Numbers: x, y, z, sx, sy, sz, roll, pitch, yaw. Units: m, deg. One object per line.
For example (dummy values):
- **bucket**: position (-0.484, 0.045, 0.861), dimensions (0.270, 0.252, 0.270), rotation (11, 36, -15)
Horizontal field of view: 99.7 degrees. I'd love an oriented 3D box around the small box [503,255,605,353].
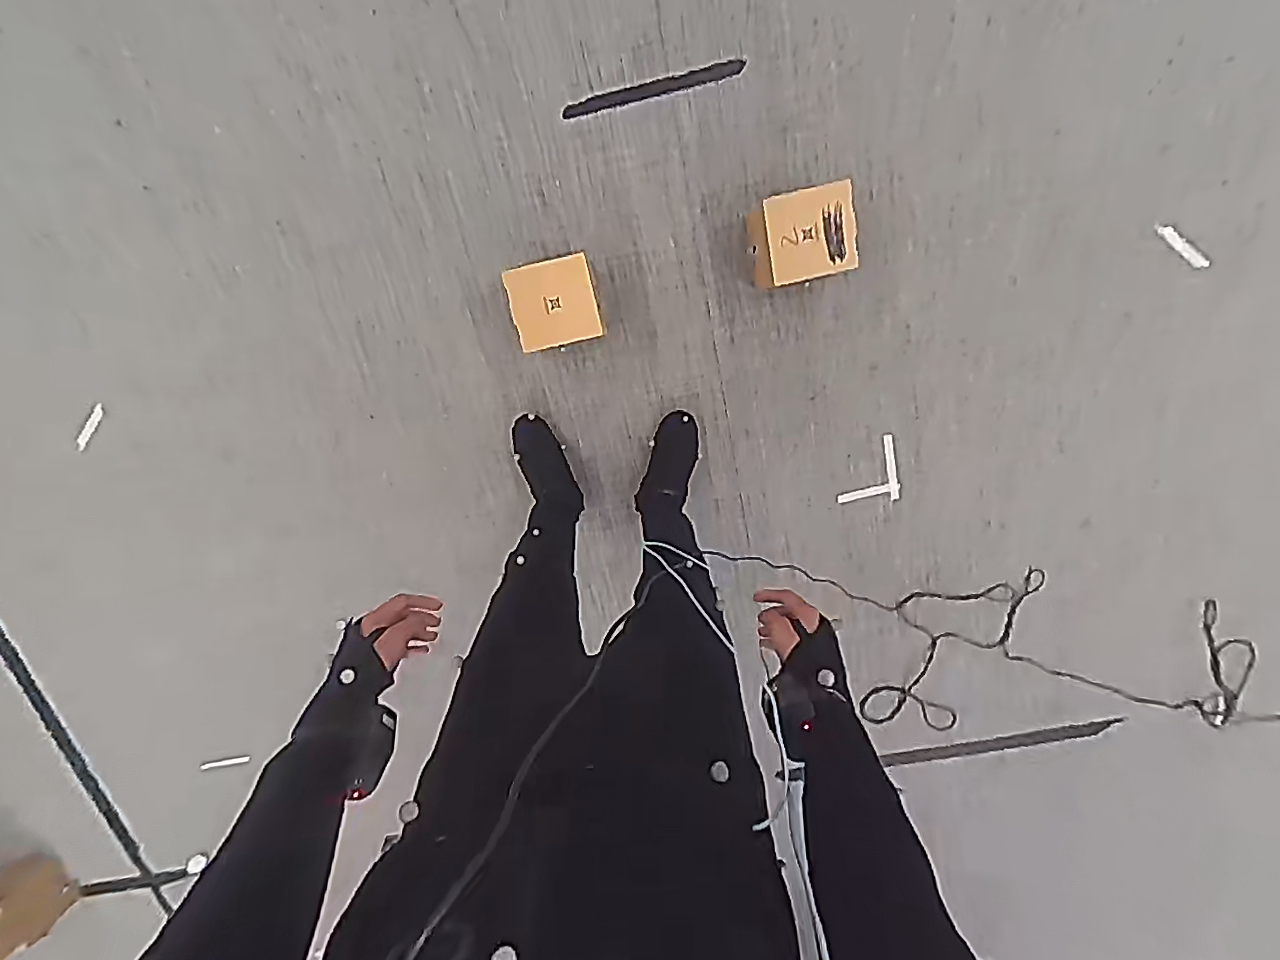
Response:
- **small box**: position (-0.176, -0.381, 1.176), dimensions (0.179, 0.176, 0.168), rotation (-12, 107, 4)
